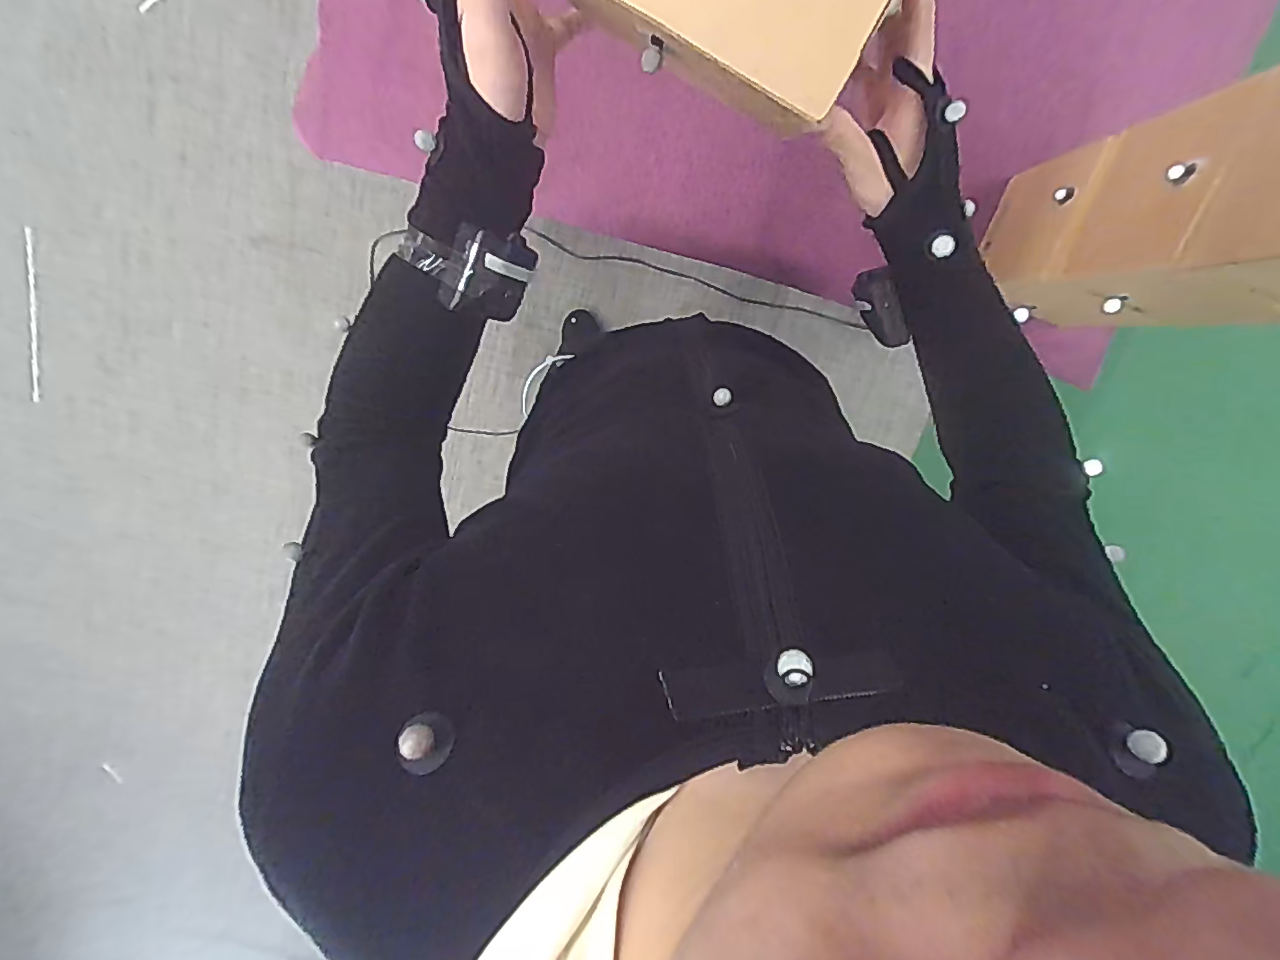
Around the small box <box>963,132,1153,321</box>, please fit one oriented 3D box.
[{"bbox_3d":[0.589,-0.323,0.725,0.179,0.176,0.168,18,104,-6],"label":"small box"}]

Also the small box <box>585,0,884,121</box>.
[{"bbox_3d":[0.060,-0.322,0.292,0.179,0.176,0.168,27,121,-8],"label":"small box"}]
